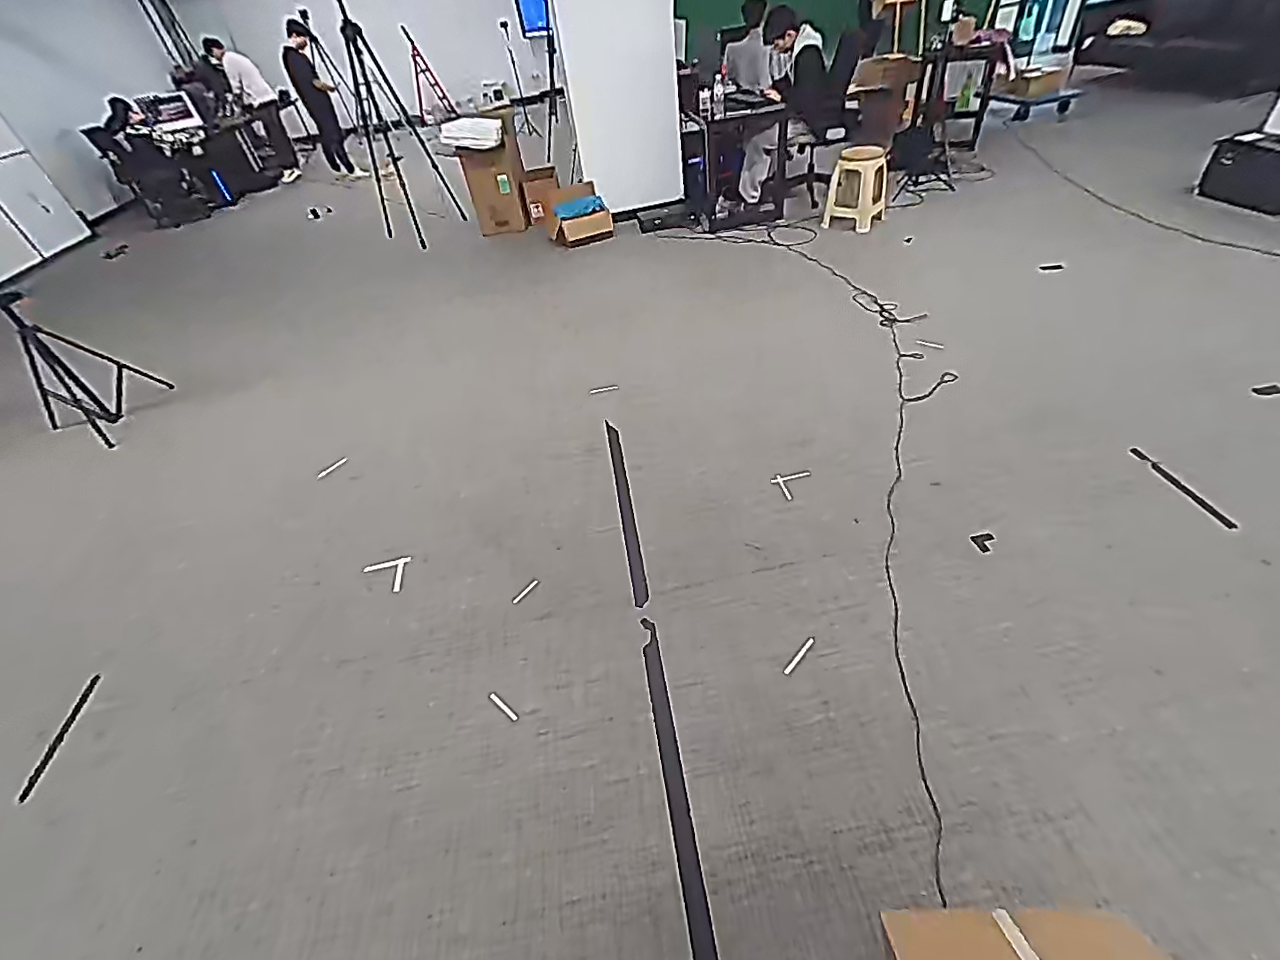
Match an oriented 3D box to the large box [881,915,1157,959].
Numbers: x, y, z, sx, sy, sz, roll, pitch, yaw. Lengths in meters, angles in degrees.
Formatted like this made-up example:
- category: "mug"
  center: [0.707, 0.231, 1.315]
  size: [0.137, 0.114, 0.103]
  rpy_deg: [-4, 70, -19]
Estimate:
- category: "large box"
  center: [0.471, 0.740, 0.533]
  size: [0.320, 0.320, 0.408]
  rpy_deg: [-6, -2, 8]
